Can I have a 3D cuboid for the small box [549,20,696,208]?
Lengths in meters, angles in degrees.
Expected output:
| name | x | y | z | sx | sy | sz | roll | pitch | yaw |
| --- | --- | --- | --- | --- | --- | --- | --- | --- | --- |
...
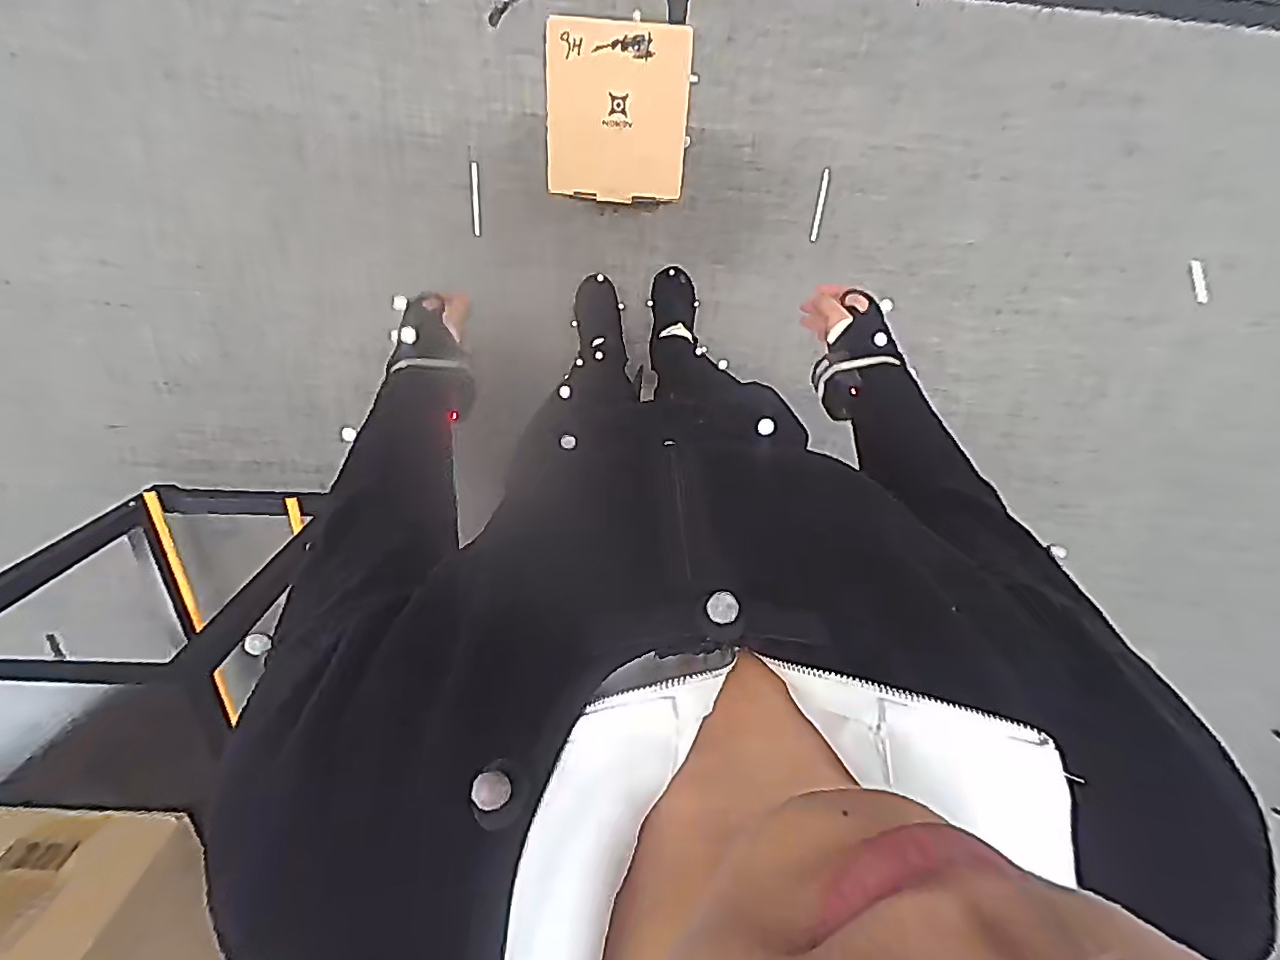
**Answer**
| name | x | y | z | sx | sy | sz | roll | pitch | yaw |
| --- | --- | --- | --- | --- | --- | --- | --- | --- | --- |
| small box | -0.025 | -0.459 | 0.703 | 0.168 | 0.176 | 0.179 | 3 | 118 | -3 |
